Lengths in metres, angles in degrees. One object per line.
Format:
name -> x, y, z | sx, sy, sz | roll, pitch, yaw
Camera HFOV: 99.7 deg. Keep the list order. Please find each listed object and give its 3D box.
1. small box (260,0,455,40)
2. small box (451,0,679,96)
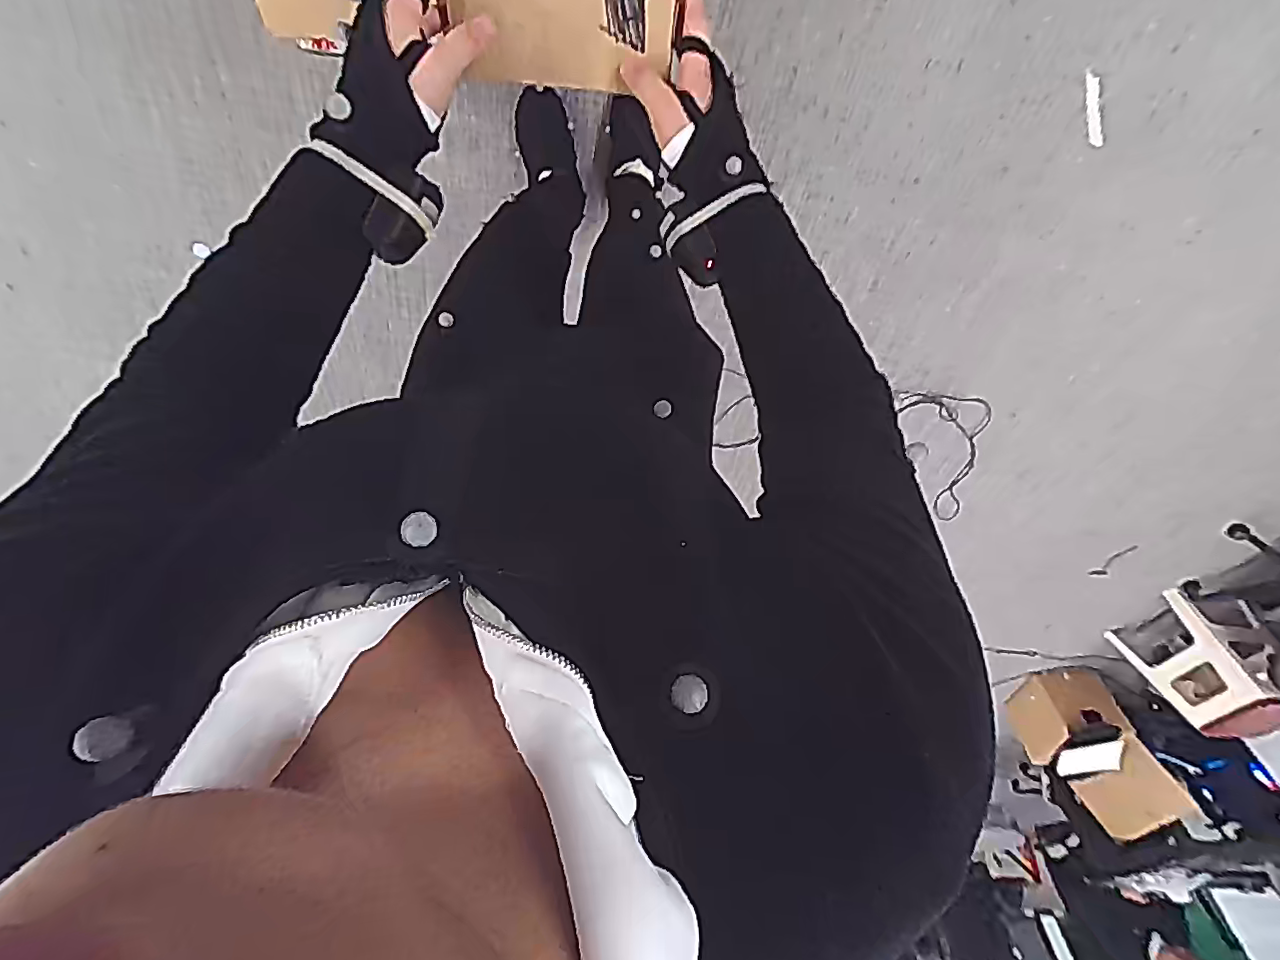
small box -> -0.260, -0.530, 0.498 | 0.168, 0.176, 0.179 | 0, 138, 1
small box -> -0.057, -0.440, 0.451 | 0.179, 0.176, 0.168 | 3, 132, -3
